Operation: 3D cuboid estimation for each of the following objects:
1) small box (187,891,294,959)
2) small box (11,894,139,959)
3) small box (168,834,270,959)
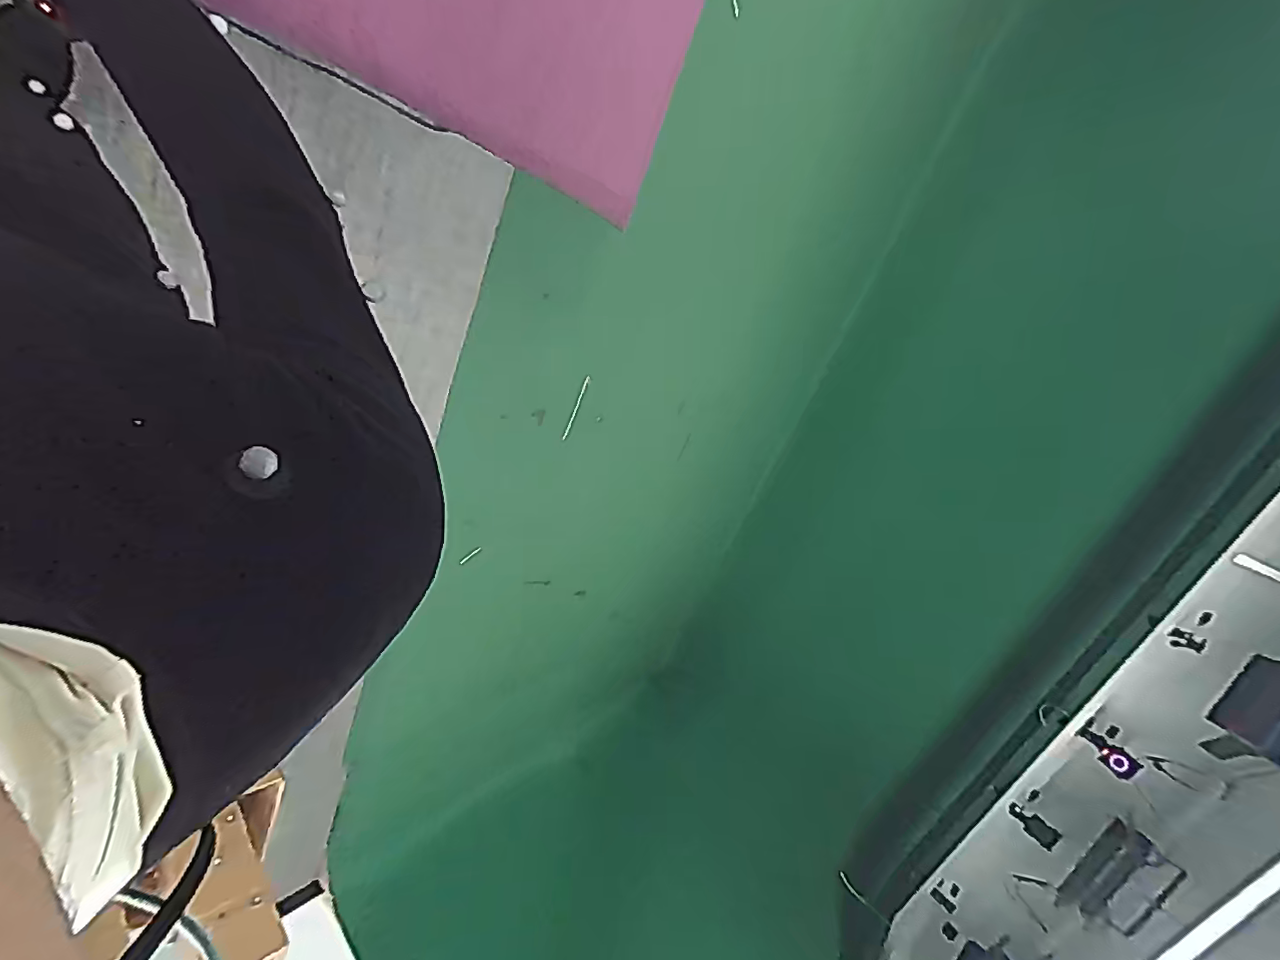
[{"bbox_3d":[-0.989,1.172,1.335,0.168,0.176,0.179,-4,124,-52],"label":"small box"},{"bbox_3d":[-1.261,1.087,1.203,0.179,0.176,0.168,1,118,-54],"label":"small box"},{"bbox_3d":[-1.104,1.084,1.412,0.168,0.176,0.179,-2,122,-54],"label":"small box"}]
